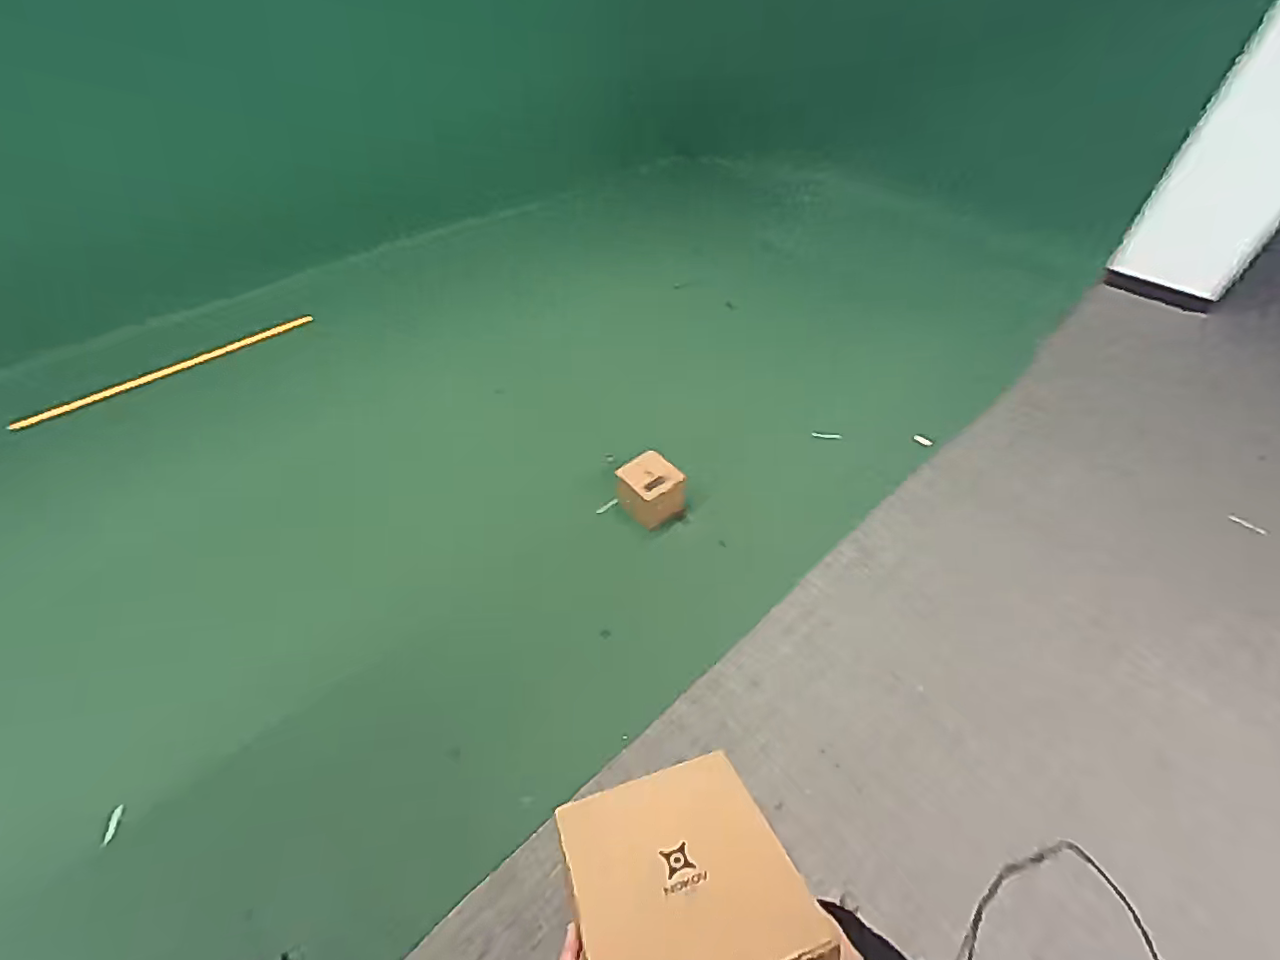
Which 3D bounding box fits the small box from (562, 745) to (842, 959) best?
[{"bbox_3d":[0.037,0.365,0.442,0.168,0.176,0.179,-10,20,-16],"label":"small box"}]
